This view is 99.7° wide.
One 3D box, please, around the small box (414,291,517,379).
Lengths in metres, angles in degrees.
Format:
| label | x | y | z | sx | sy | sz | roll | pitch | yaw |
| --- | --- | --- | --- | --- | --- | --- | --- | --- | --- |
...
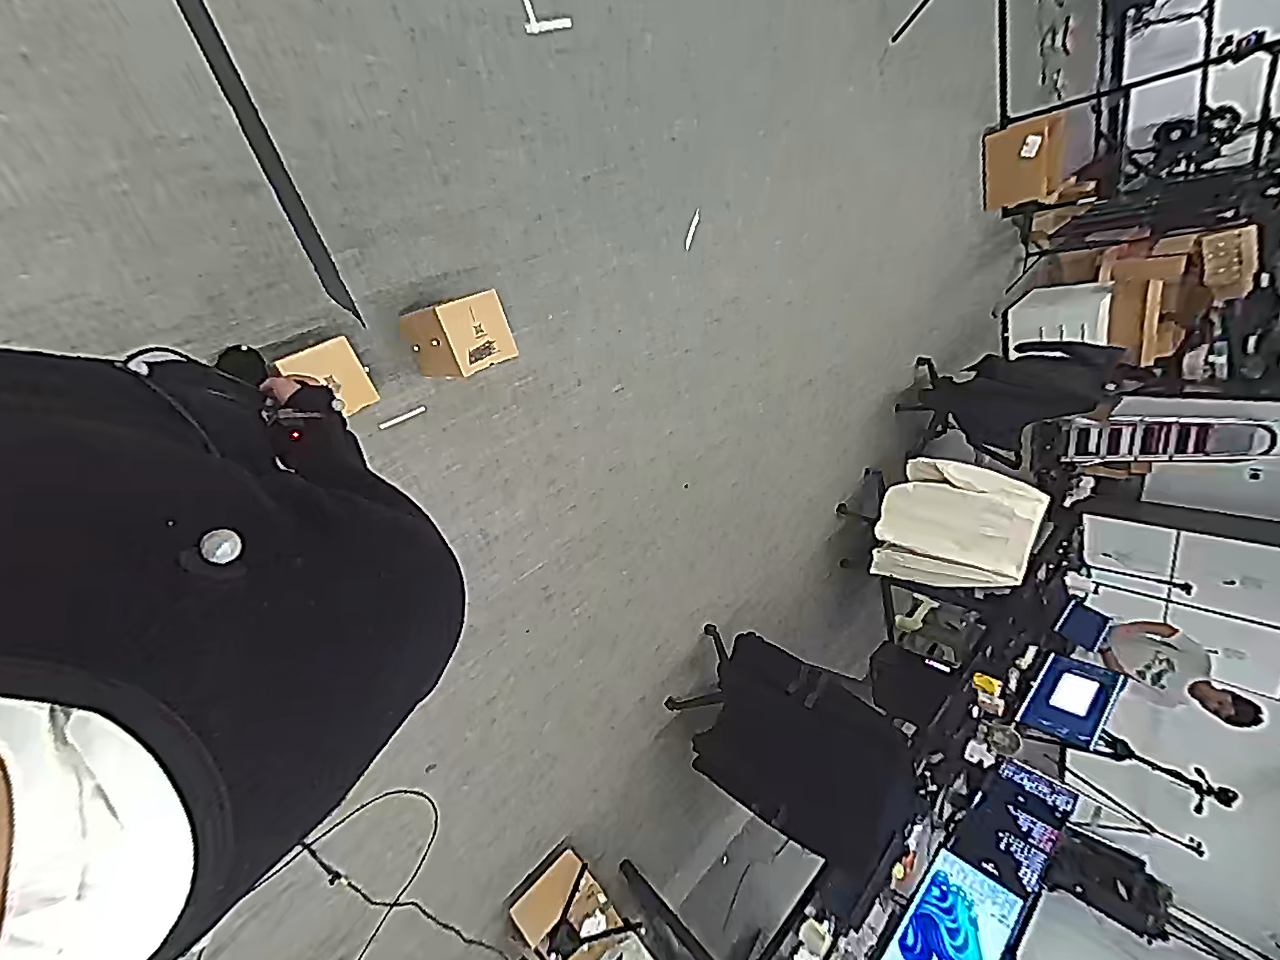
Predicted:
| label | x | y | z | sx | sy | sz | roll | pitch | yaw |
| --- | --- | --- | --- | --- | --- | --- | --- | --- | --- |
| small box | -0.452 | -0.373 | 1.397 | 0.168 | 0.176 | 0.179 | -33 | 117 | -30 |

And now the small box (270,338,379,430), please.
| label | x | y | z | sx | sy | sz | roll | pitch | yaw |
| --- | --- | --- | --- | --- | --- | --- | --- | --- | --- |
| small box | -0.797 | -0.241 | 1.361 | 0.168 | 0.176 | 0.179 | -36 | 120 | -28 |
